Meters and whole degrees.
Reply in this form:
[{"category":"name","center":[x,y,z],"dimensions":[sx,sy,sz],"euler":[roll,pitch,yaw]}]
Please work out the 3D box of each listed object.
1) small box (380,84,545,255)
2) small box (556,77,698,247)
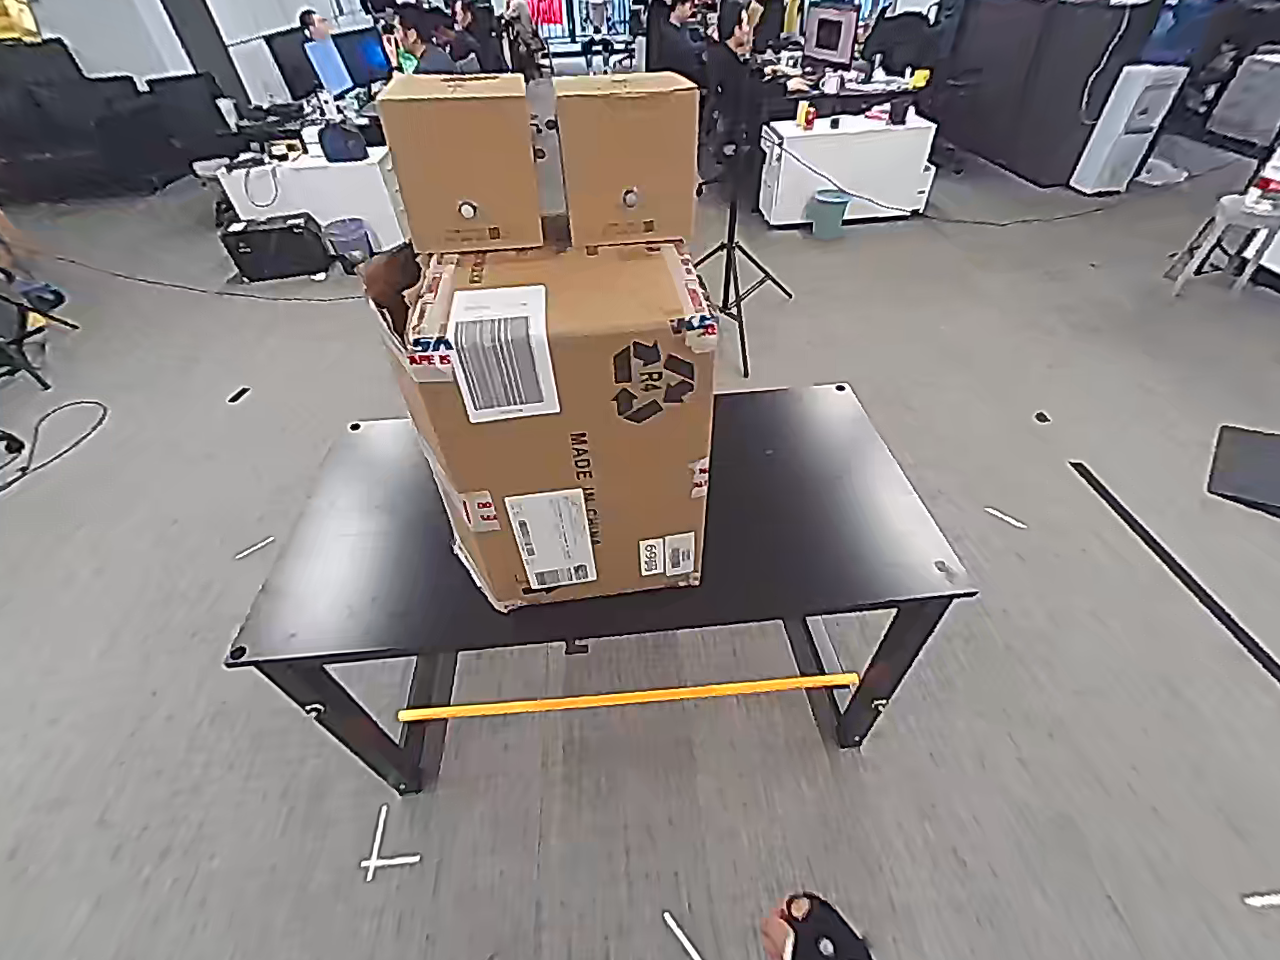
[{"category":"small box","center":[-0.219,-0.411,0.715],"dimensions":[0.168,0.176,0.179],"euler":[-7,42,-8]},{"category":"small box","center":[-0.022,-0.431,0.732],"dimensions":[0.168,0.176,0.179],"euler":[-7,42,-5]}]
